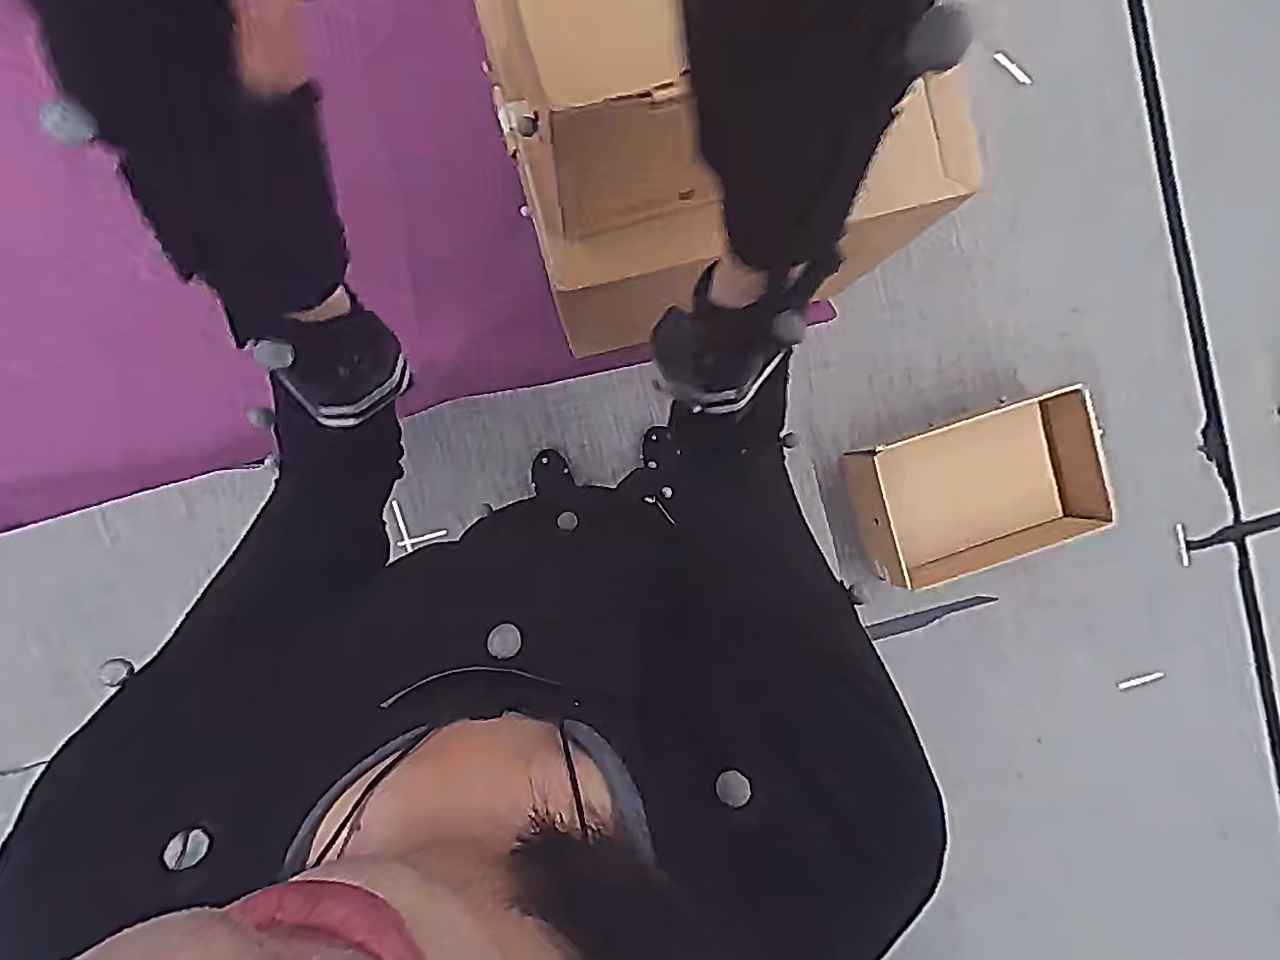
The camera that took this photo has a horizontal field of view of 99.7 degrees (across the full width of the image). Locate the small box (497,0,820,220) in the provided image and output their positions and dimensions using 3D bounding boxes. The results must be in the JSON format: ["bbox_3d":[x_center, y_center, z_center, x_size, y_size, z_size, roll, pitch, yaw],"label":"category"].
[{"bbox_3d":[-0.004,-0.306,0.374,0.168,0.176,0.179,-17,92,-5],"label":"small box"}]

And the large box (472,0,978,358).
[{"bbox_3d":[0.068,-0.365,0.622,0.408,0.320,0.320,-16,94,-4],"label":"large box"}]
